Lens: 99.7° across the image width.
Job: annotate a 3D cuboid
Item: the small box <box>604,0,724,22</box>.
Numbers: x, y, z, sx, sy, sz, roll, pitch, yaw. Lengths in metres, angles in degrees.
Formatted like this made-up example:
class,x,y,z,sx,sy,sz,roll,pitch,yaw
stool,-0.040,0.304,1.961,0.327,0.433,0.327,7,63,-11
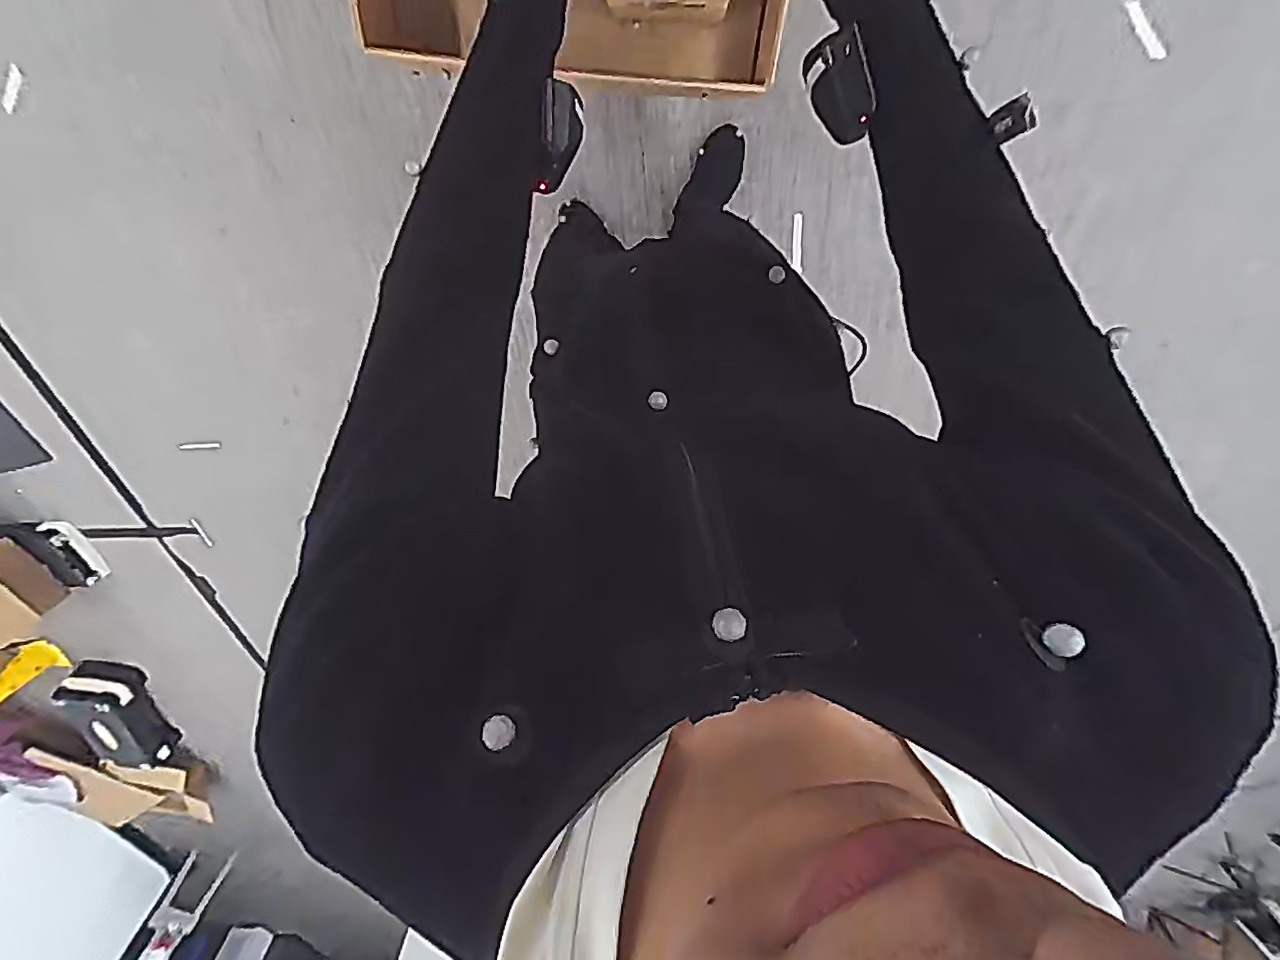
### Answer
class,x,y,z,sx,sy,sz,roll,pitch,yaw
small box,0.041,-0.751,0.741,0.168,0.176,0.179,3,124,2

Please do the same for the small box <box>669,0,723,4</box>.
class,x,y,z,sx,sy,sz,roll,pitch,yaw
small box,0.034,-0.661,0.606,0.168,0.176,0.179,4,124,1
